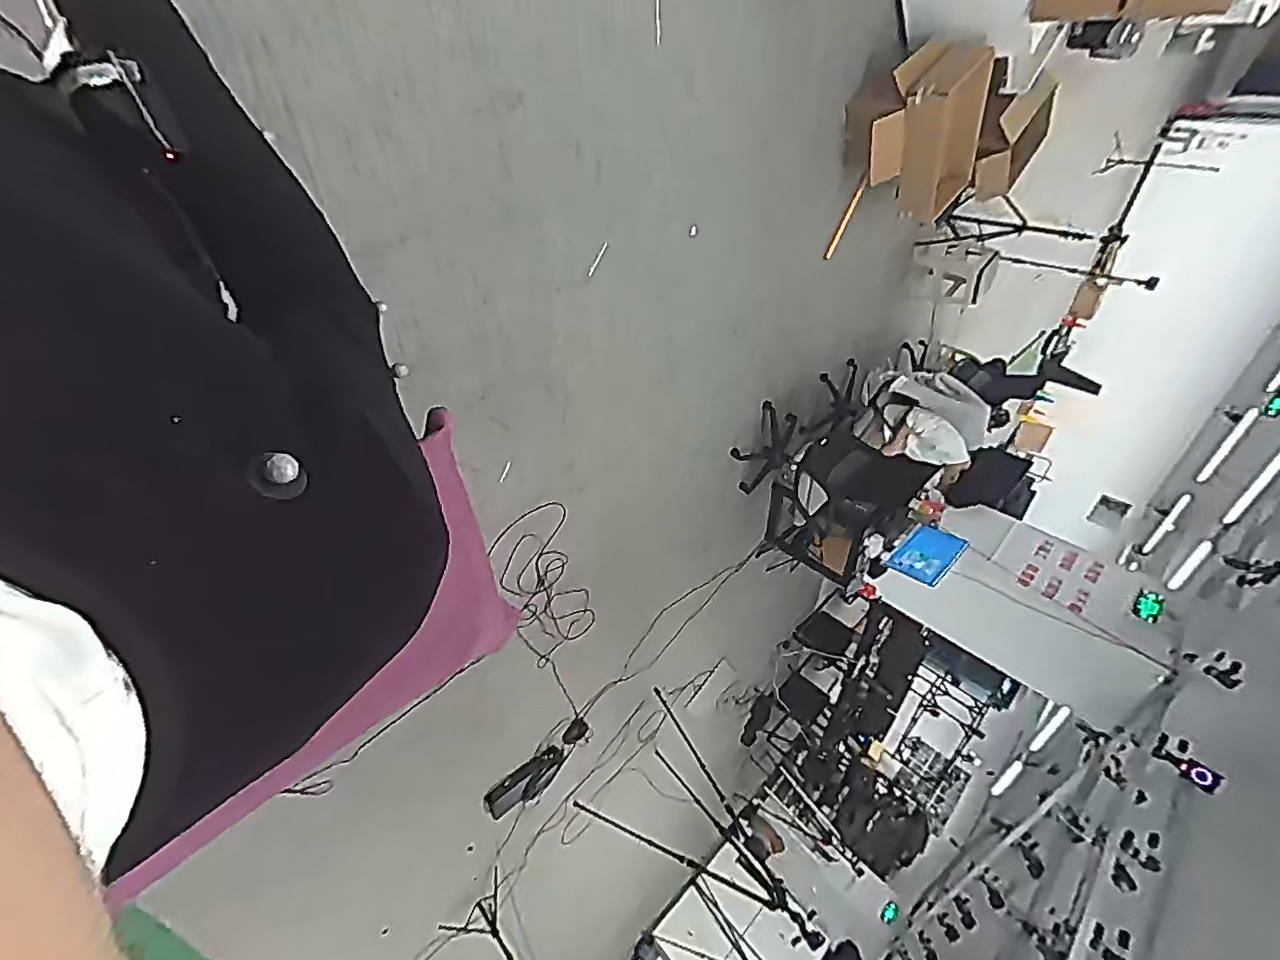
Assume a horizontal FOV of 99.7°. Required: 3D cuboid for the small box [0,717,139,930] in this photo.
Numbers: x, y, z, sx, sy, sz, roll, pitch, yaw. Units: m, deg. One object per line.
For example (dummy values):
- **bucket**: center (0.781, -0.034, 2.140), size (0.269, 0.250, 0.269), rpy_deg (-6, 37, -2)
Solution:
- **small box**: center (-0.865, 0.479, 0.764), size (0.179, 0.176, 0.168), rpy_deg (-25, 133, -37)
